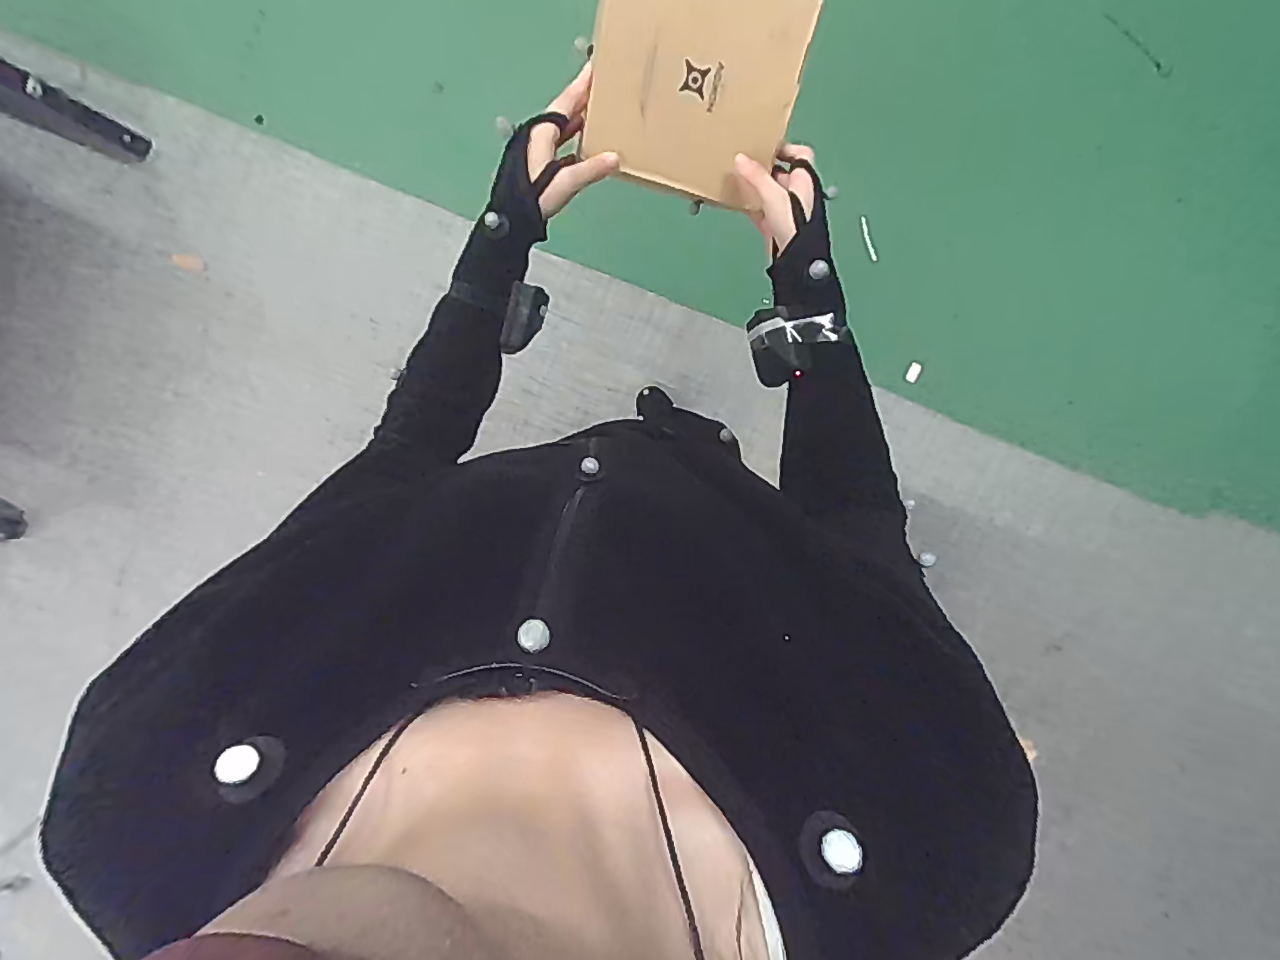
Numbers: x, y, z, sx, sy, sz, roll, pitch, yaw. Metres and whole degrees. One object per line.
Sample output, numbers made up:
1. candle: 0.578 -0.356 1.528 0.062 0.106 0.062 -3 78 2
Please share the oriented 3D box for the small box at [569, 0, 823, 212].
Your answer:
1. small box: 0.035 -0.375 0.522 0.179 0.176 0.168 9 116 -15
